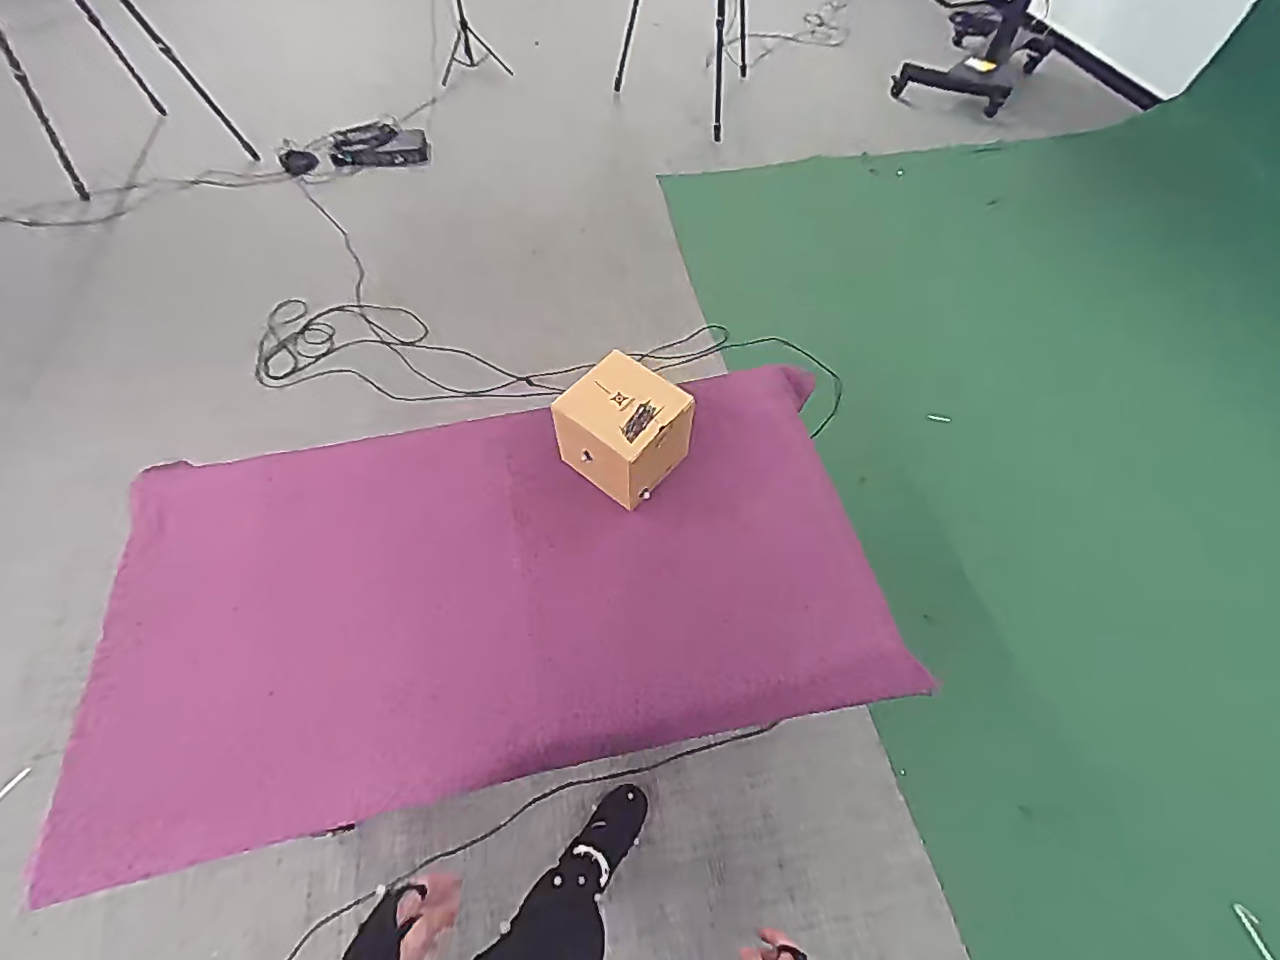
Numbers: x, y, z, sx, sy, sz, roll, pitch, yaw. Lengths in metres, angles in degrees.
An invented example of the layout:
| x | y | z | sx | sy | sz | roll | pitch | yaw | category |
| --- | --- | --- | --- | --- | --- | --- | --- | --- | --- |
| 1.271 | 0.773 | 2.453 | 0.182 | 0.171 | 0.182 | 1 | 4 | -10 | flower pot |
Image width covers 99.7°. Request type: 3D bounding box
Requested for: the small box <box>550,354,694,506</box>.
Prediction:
| x | y | z | sx | sy | sz | roll | pitch | yaw | category |
| --- | --- | --- | --- | --- | --- | --- | --- | --- | --- |
| -0.029 | -0.078 | 0.941 | 0.179 | 0.176 | 0.168 | 36 | 65 | 20 | small box |
